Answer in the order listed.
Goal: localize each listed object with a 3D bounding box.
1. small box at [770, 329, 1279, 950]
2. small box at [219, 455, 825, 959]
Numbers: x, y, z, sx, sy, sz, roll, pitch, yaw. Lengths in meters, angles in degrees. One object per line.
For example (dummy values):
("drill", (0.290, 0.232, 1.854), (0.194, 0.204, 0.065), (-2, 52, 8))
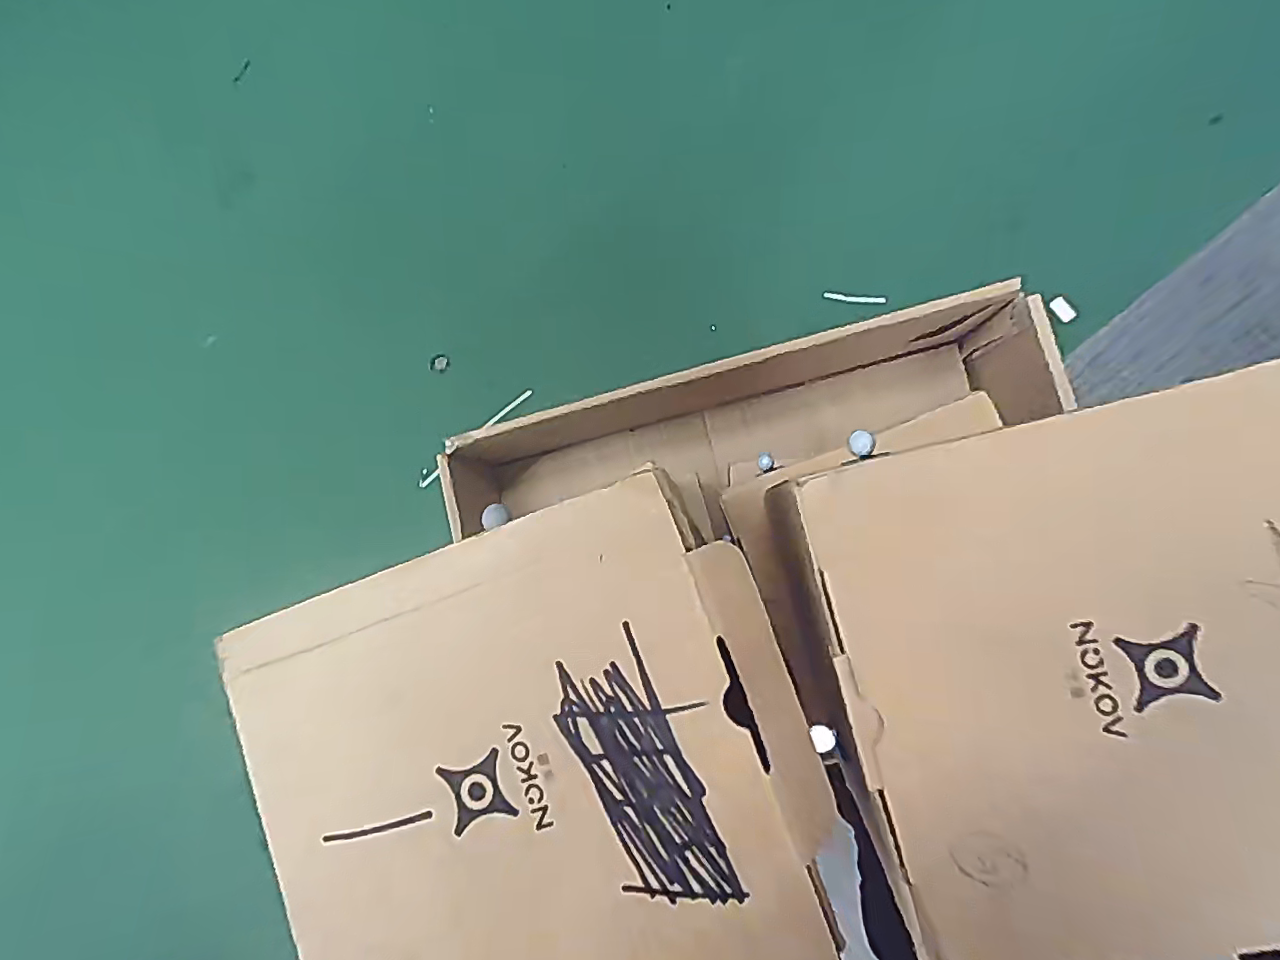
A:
("small box", (0.163, 0.055, 0.245), (0.179, 0.176, 0.168), (-15, 84, 9))
("small box", (-0.039, 0.101, 0.264), (0.179, 0.176, 0.168), (-21, 82, 5))
